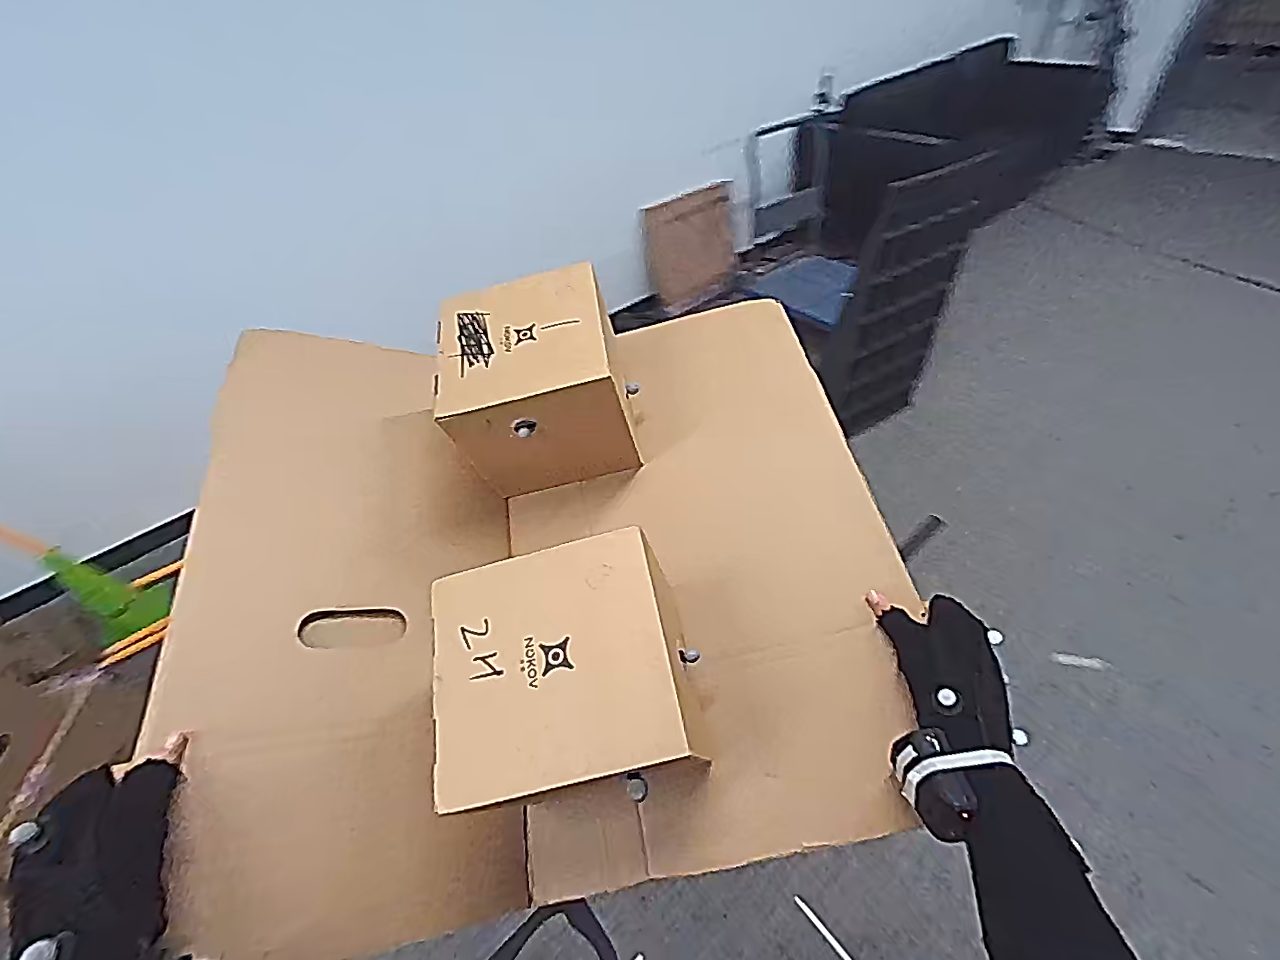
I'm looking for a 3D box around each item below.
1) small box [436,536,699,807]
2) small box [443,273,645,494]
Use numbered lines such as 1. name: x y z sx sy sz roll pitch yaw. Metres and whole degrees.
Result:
1. small box: -0.051 0.169 0.465 0.179 0.176 0.168 -14 59 6
2. small box: -0.102 -0.100 0.624 0.179 0.176 0.168 -12 60 5
